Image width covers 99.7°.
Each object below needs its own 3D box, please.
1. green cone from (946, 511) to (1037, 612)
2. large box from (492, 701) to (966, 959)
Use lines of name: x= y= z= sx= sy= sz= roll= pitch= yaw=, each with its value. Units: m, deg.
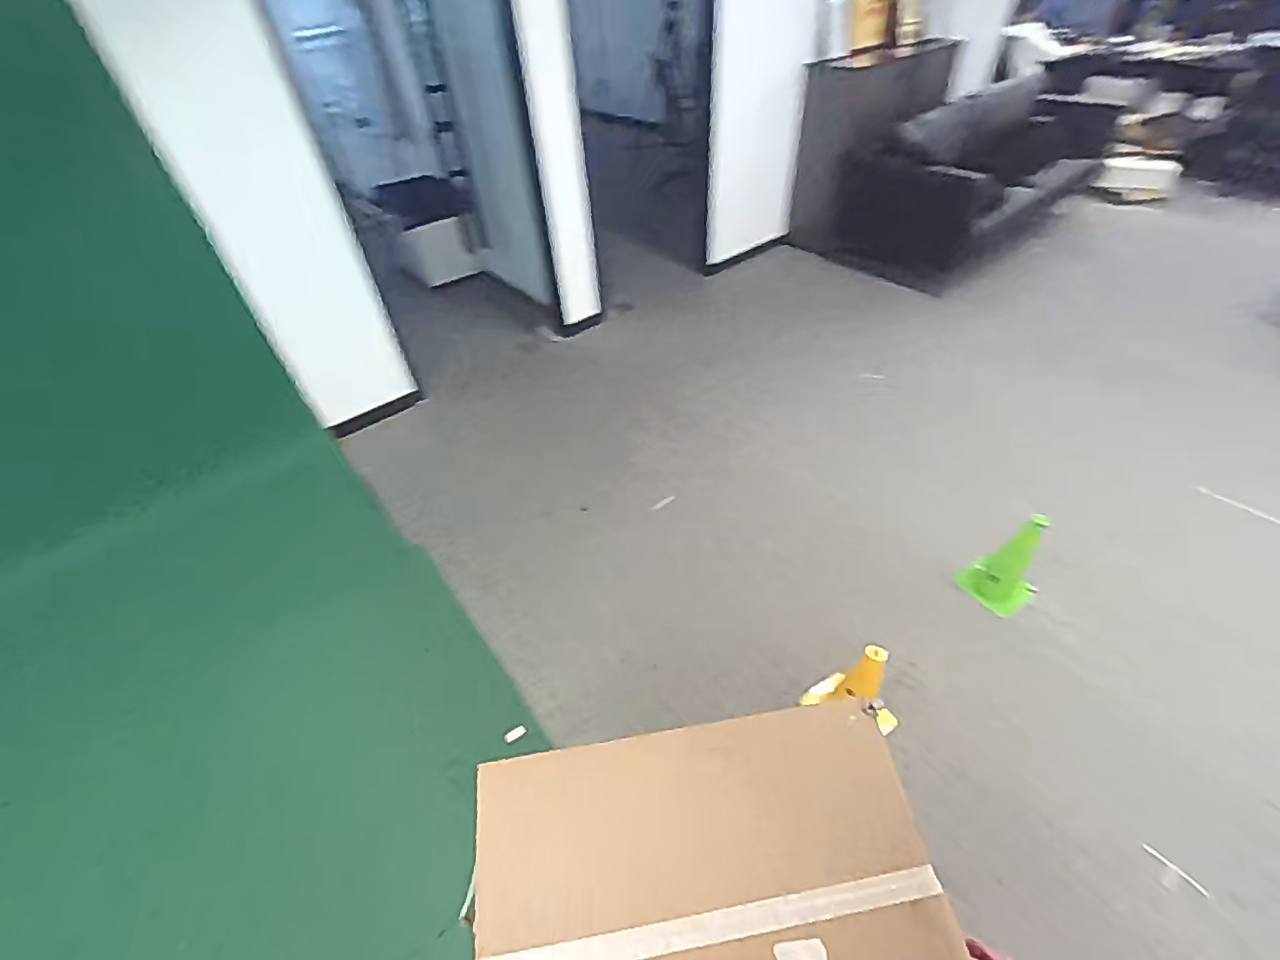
green cone: x=1.203 y=0.228 z=1.778 sx=0.202 sy=0.368 sz=0.200 roll=-28 pitch=49 yaw=-21
large box: x=0.072 y=0.470 z=0.595 sx=0.408 sy=0.320 sz=0.320 roll=-8 pitch=57 yaw=-4
